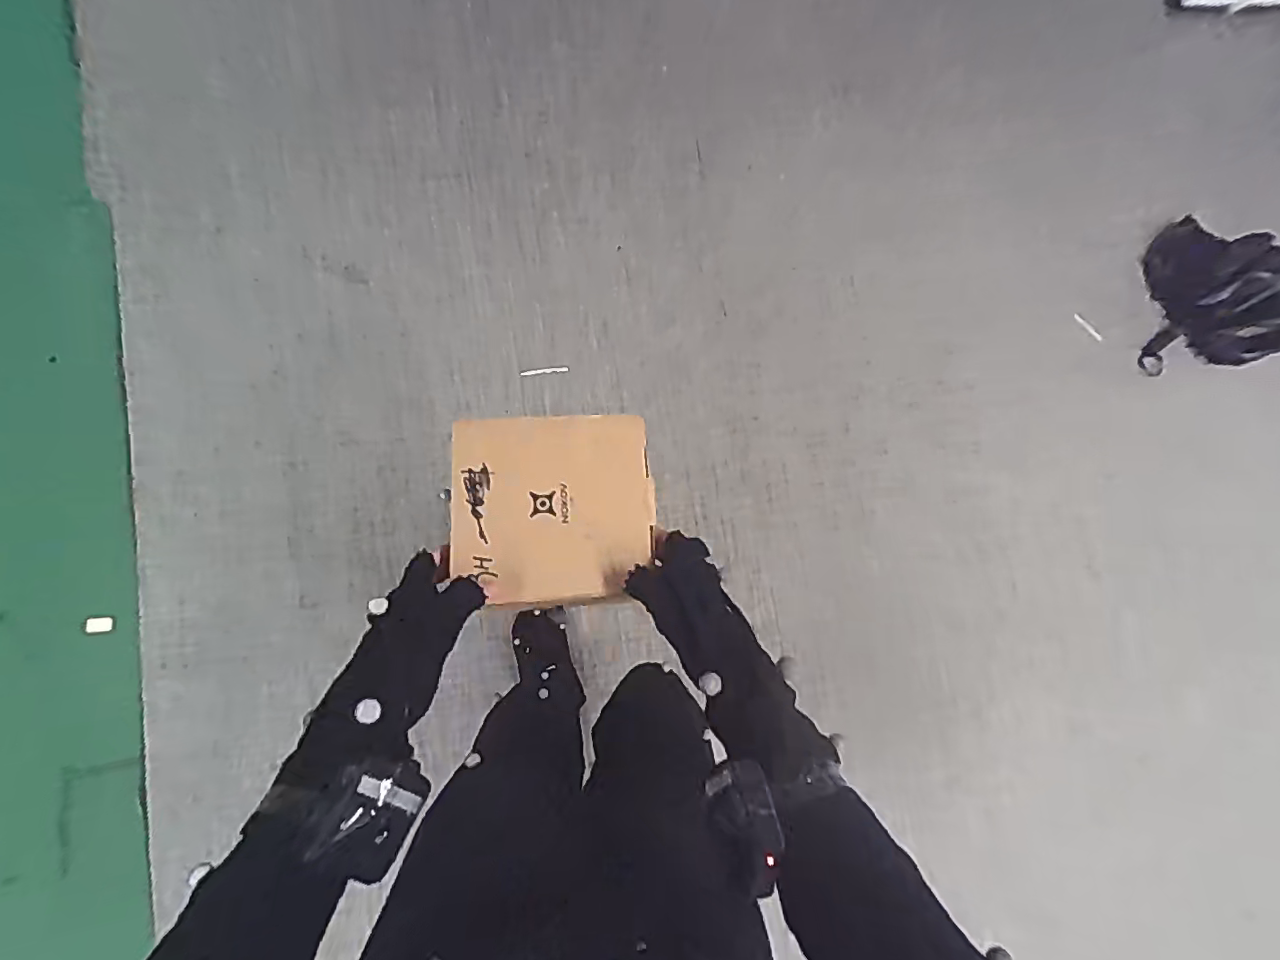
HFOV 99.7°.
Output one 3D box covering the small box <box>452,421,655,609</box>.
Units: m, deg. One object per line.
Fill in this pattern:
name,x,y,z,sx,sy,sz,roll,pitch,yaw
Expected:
small box,-0.089,0.044,0.560,0.179,0.176,0.168,-2,75,-9
